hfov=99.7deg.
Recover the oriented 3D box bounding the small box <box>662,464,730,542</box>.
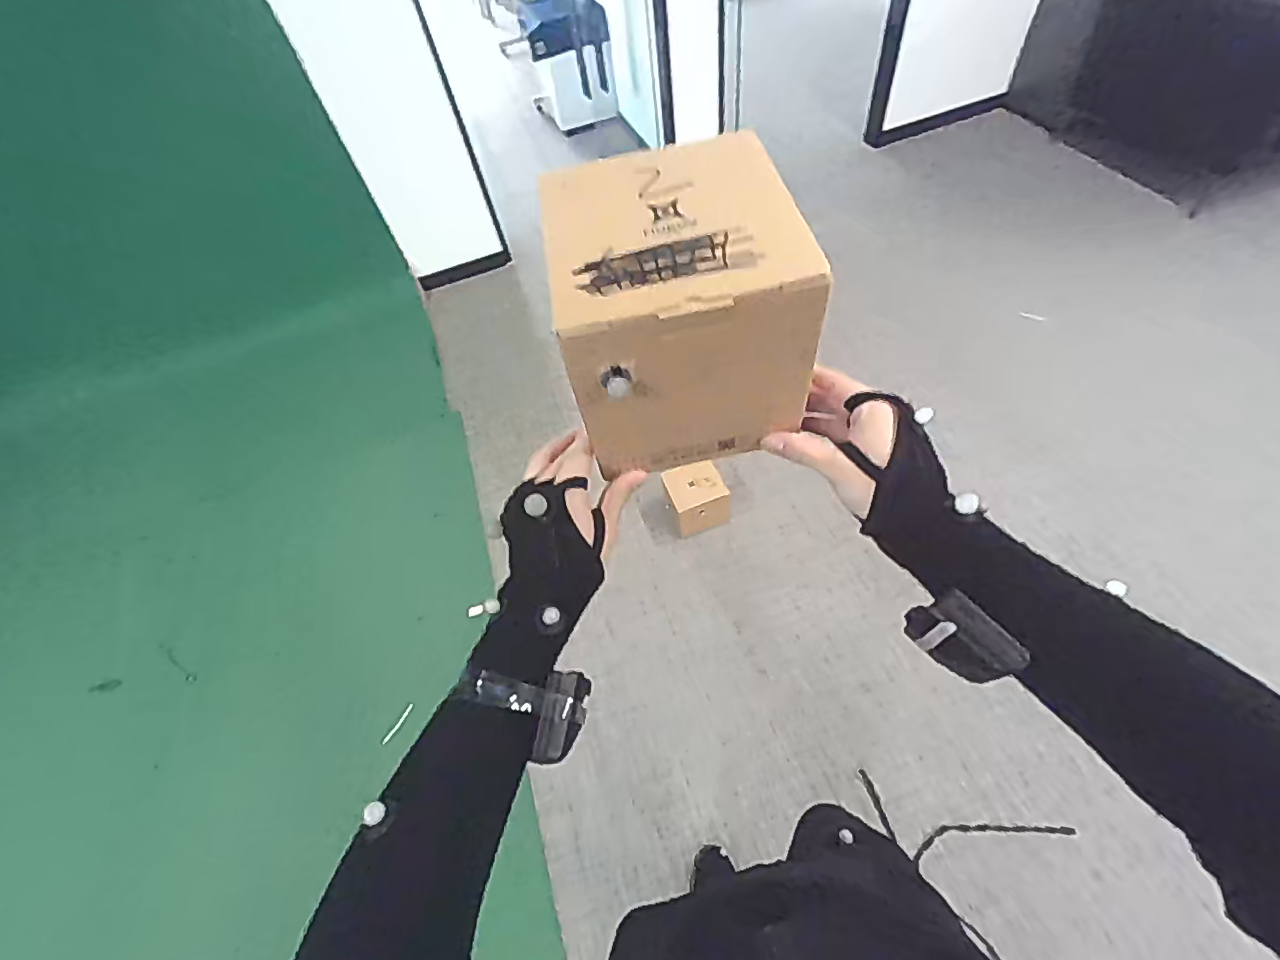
[{"bbox_3d":[0.187,0.082,1.789,0.179,0.176,0.168,-20,54,-6],"label":"small box"}]
